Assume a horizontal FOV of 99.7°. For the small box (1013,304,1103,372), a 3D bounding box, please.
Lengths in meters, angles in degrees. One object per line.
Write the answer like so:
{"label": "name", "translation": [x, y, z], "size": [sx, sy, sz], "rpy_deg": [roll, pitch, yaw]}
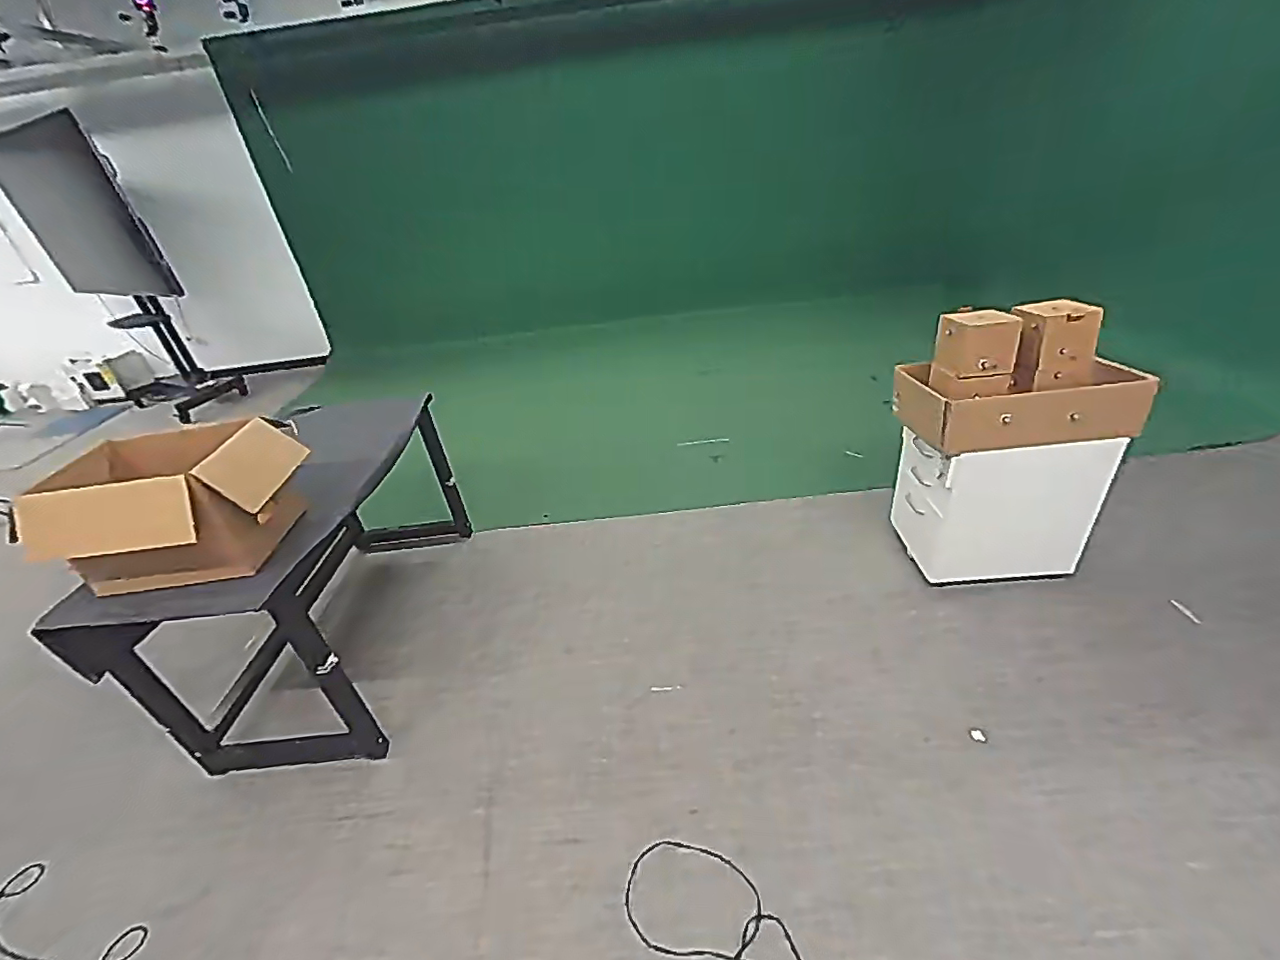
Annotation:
{"label": "small box", "translation": [1.307, -0.452, 1.720], "size": [0.168, 0.176, 0.179], "rpy_deg": [-8, 27, 3]}

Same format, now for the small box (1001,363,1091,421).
{"label": "small box", "translation": [1.333, -0.307, 1.790], "size": [0.168, 0.176, 0.179], "rpy_deg": [-8, 25, 5]}

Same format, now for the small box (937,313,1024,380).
{"label": "small box", "translation": [1.075, -0.425, 1.726], "size": [0.168, 0.176, 0.179], "rpy_deg": [-6, 27, 3]}
